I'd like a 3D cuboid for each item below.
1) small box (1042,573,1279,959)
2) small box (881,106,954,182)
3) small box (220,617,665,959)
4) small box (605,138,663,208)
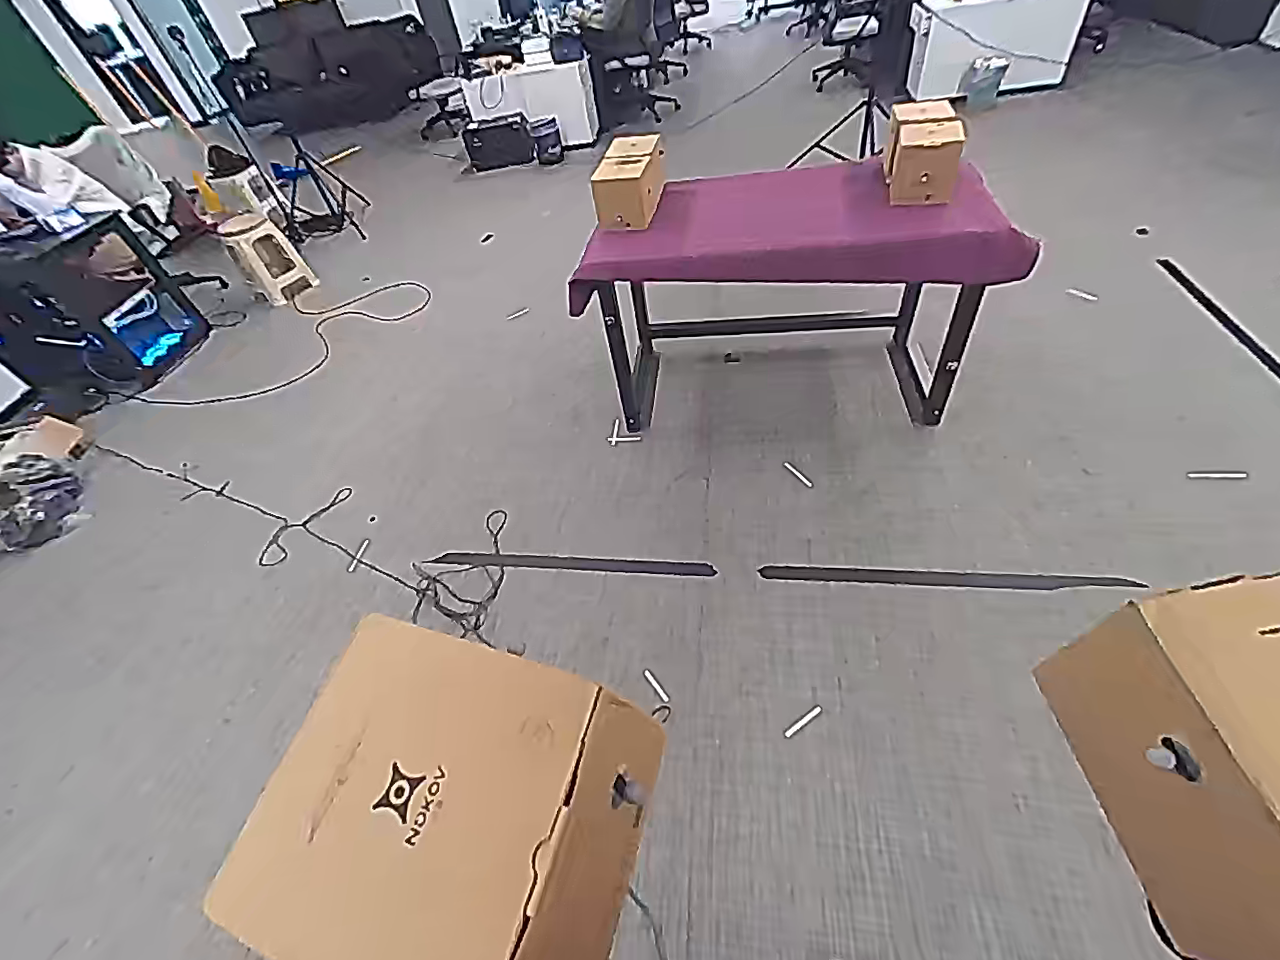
[{"bbox_3d":[0.379,0.162,0.306,0.168,0.176,0.179,-15,56,8],"label":"small box"},{"bbox_3d":[0.887,-1.081,1.744,0.168,0.176,0.179,4,48,13],"label":"small box"},{"bbox_3d":[-0.096,0.210,0.351,0.179,0.176,0.168,7,60,22],"label":"small box"},{"bbox_3d":[-0.014,-1.088,1.920,0.168,0.176,0.179,3,50,14],"label":"small box"}]
